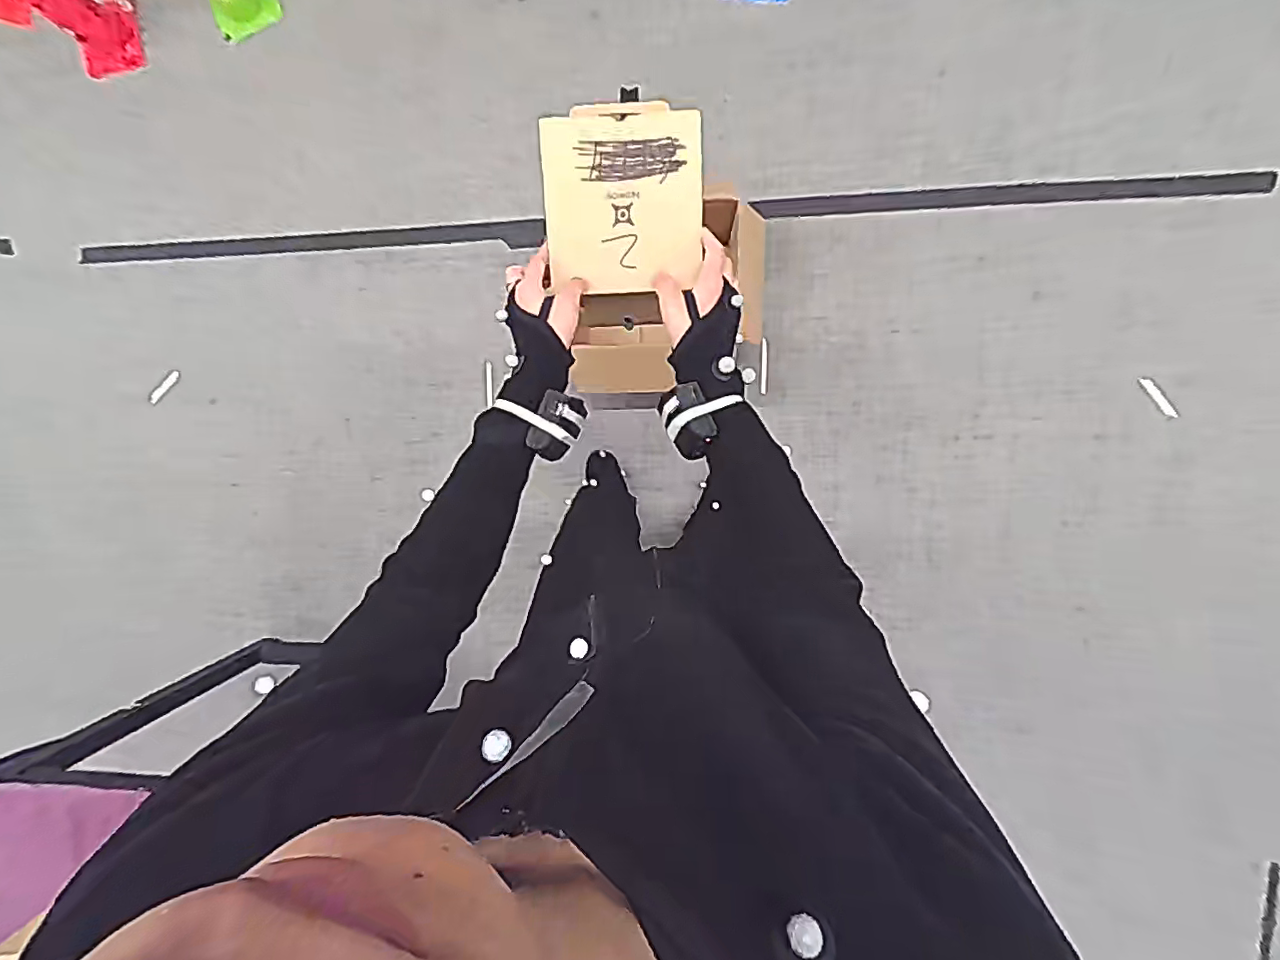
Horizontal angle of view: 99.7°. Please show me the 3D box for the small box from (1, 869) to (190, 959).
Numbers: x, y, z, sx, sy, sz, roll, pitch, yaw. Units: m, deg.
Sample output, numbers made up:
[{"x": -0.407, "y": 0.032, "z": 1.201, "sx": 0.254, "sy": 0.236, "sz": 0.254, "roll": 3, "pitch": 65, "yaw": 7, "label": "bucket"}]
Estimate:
[{"x": -0.970, "y": 0.847, "z": 0.985, "sx": 0.179, "sy": 0.176, "sz": 0.168, "roll": -7, "pitch": 96, "yaw": 8, "label": "small box"}]
